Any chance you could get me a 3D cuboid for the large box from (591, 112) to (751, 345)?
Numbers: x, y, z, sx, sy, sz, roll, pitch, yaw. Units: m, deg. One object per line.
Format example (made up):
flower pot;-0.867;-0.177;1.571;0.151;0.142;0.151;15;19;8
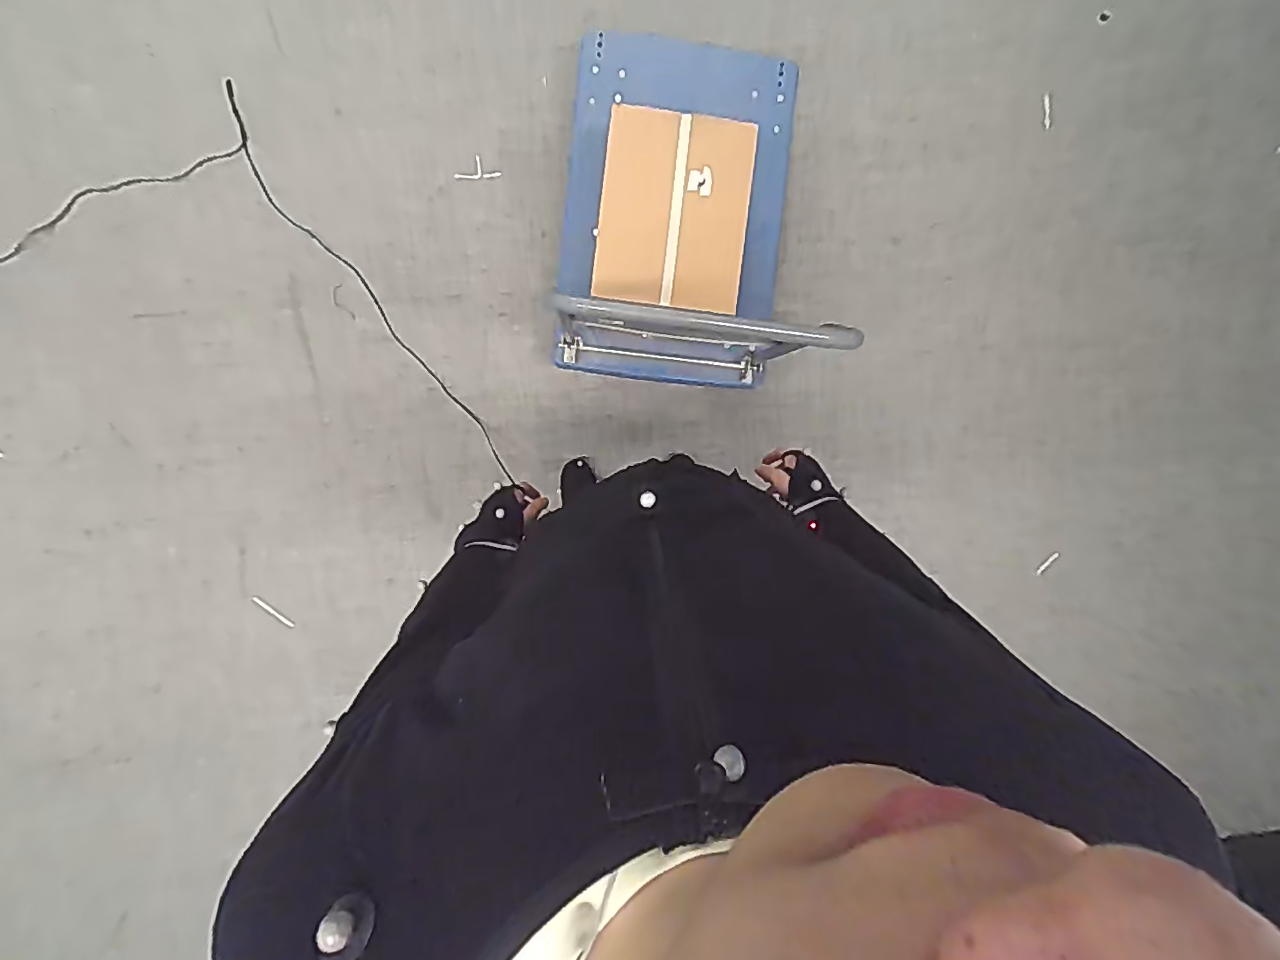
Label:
large box;0.059;-0.566;1.297;0.320;0.320;0.408;6;91;-4
